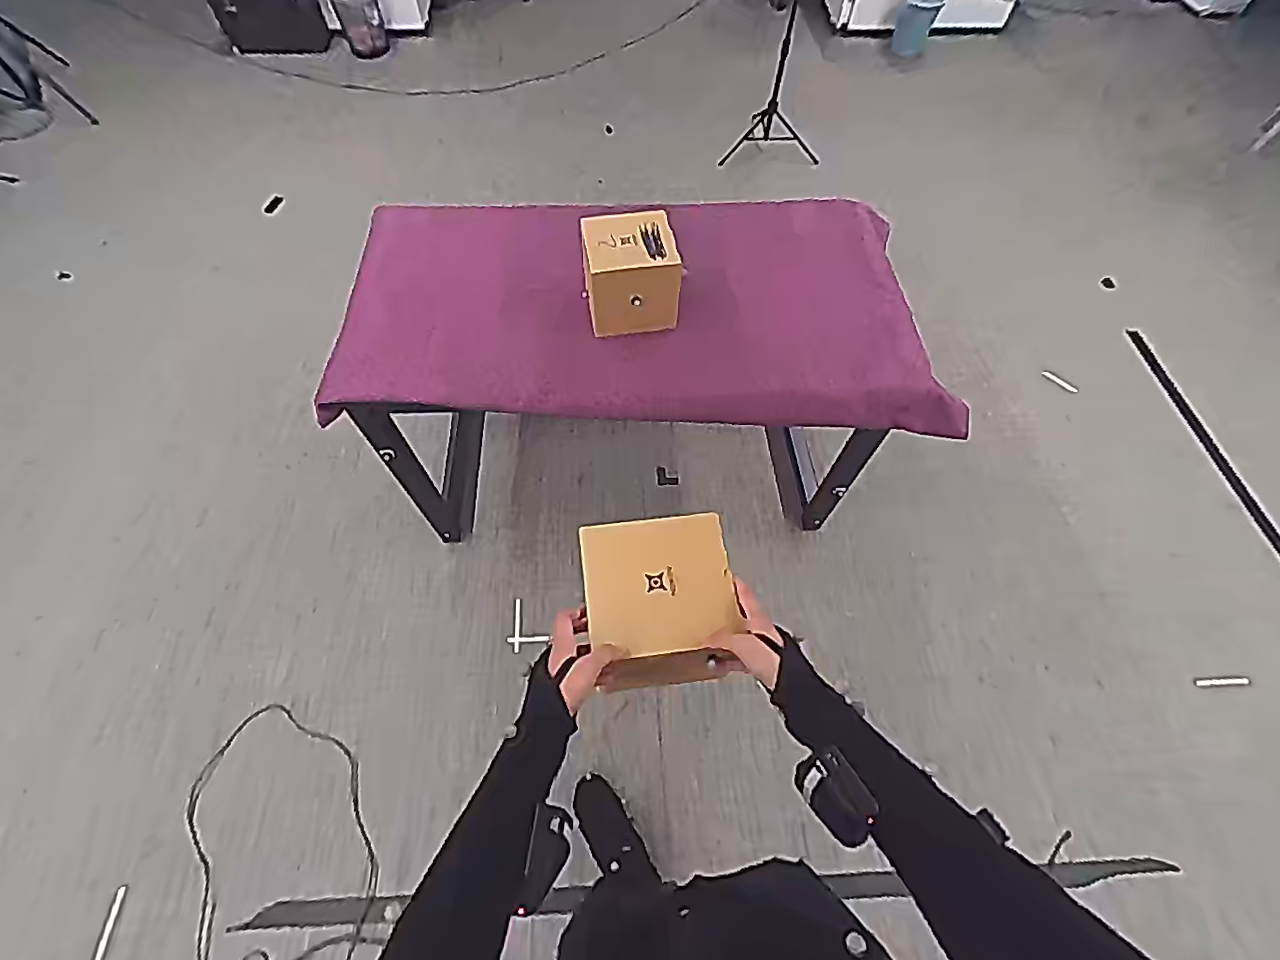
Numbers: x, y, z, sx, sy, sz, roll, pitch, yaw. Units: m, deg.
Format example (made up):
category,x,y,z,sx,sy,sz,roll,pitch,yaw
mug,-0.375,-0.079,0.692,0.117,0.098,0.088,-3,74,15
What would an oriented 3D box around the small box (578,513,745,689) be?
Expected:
category,x,y,z,sx,sy,sz,roll,pitch,yaw
small box,0.018,0.160,0.691,0.179,0.176,0.168,-5,59,-6
